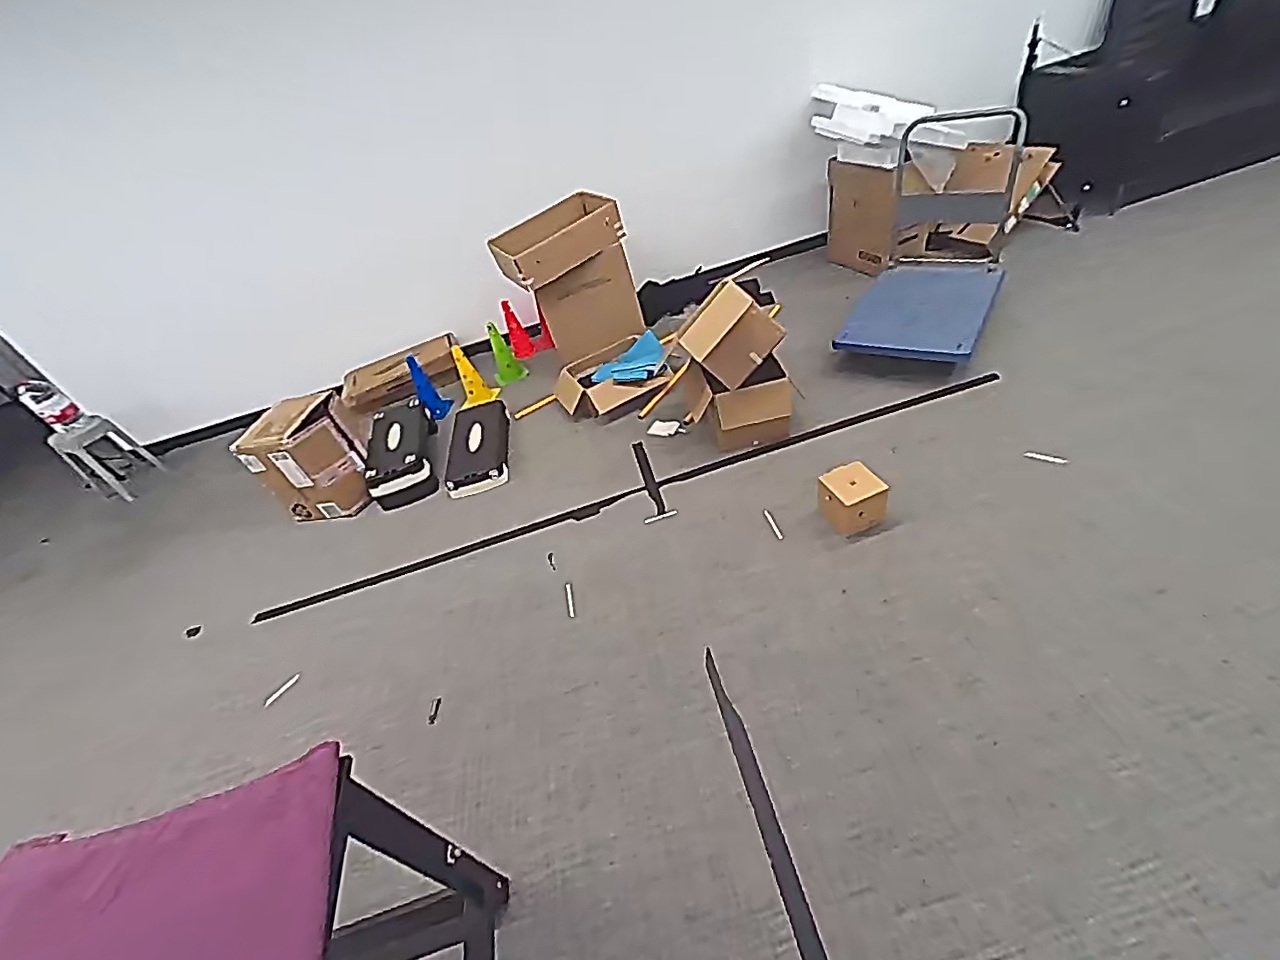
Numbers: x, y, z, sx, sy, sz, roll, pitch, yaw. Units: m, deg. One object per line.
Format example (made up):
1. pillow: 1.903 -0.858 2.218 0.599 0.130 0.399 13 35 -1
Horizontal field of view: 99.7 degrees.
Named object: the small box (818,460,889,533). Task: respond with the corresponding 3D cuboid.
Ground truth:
1. small box: 0.757 0.067 1.923 0.168 0.176 0.179 -22 40 -7
